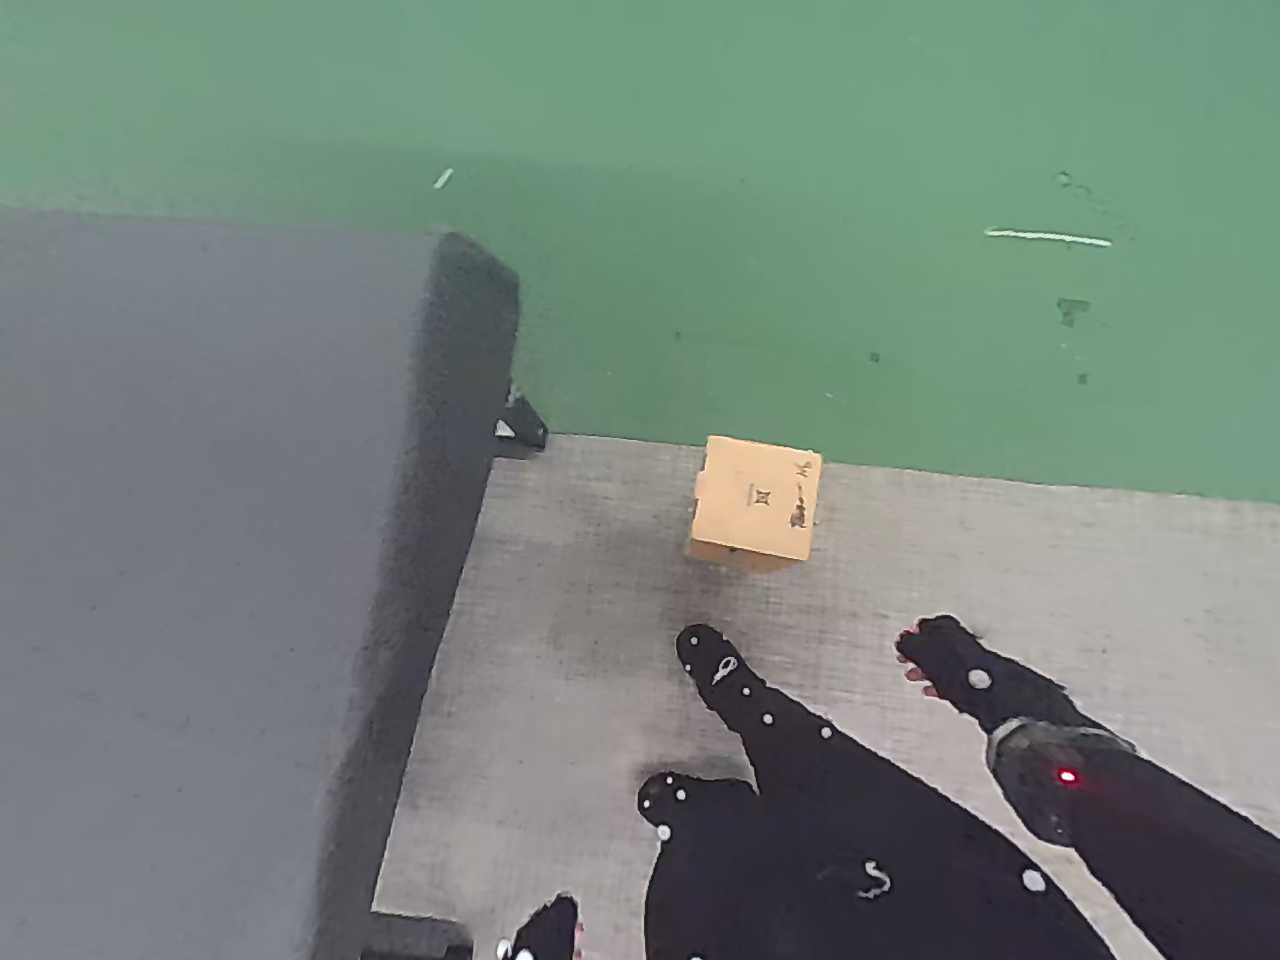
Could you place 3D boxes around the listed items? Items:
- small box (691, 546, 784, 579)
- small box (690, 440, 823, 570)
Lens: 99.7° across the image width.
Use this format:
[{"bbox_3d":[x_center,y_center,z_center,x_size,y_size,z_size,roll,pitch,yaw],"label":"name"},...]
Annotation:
[{"bbox_3d":[0.194,0.085,1.041,0.168,0.176,0.179,12,79,6],"label":"small box"},{"bbox_3d":[0.181,0.049,0.882,0.179,0.176,0.168,11,78,7],"label":"small box"}]
